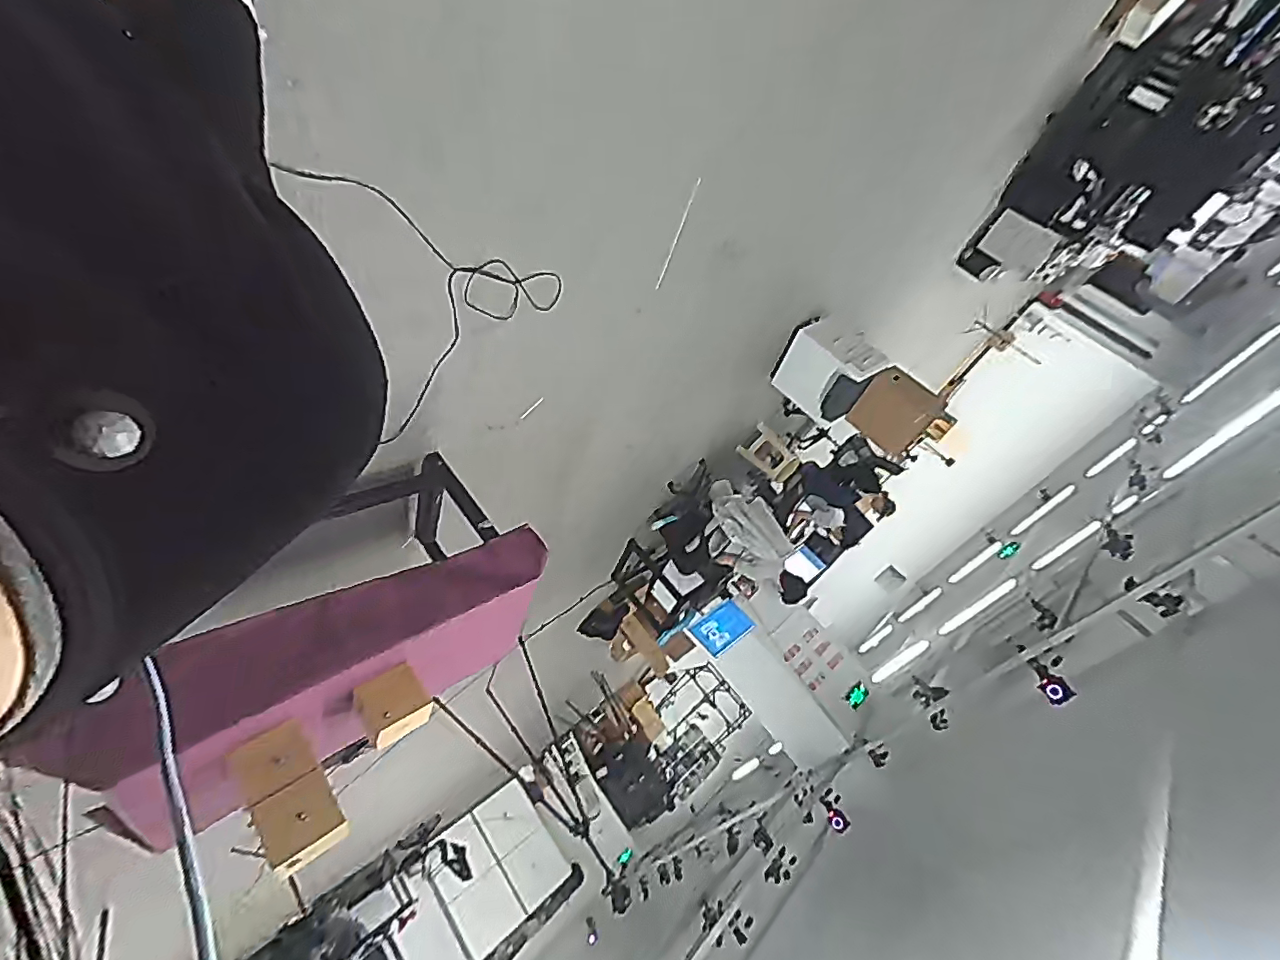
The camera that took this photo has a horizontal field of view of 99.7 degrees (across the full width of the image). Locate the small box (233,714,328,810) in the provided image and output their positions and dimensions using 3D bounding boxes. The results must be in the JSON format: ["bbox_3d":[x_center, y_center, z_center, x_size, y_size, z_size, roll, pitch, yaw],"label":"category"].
[{"bbox_3d":[-1.000,0.797,1.520,0.179,0.176,0.168,-24,152,-39],"label":"small box"}]

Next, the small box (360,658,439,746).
[{"bbox_3d":[-0.776,0.708,1.740,0.179,0.176,0.168,-20,150,-41],"label":"small box"}]

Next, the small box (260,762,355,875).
[{"bbox_3d":[-0.896,0.907,1.457,0.179,0.176,0.168,-24,152,-40],"label":"small box"}]
